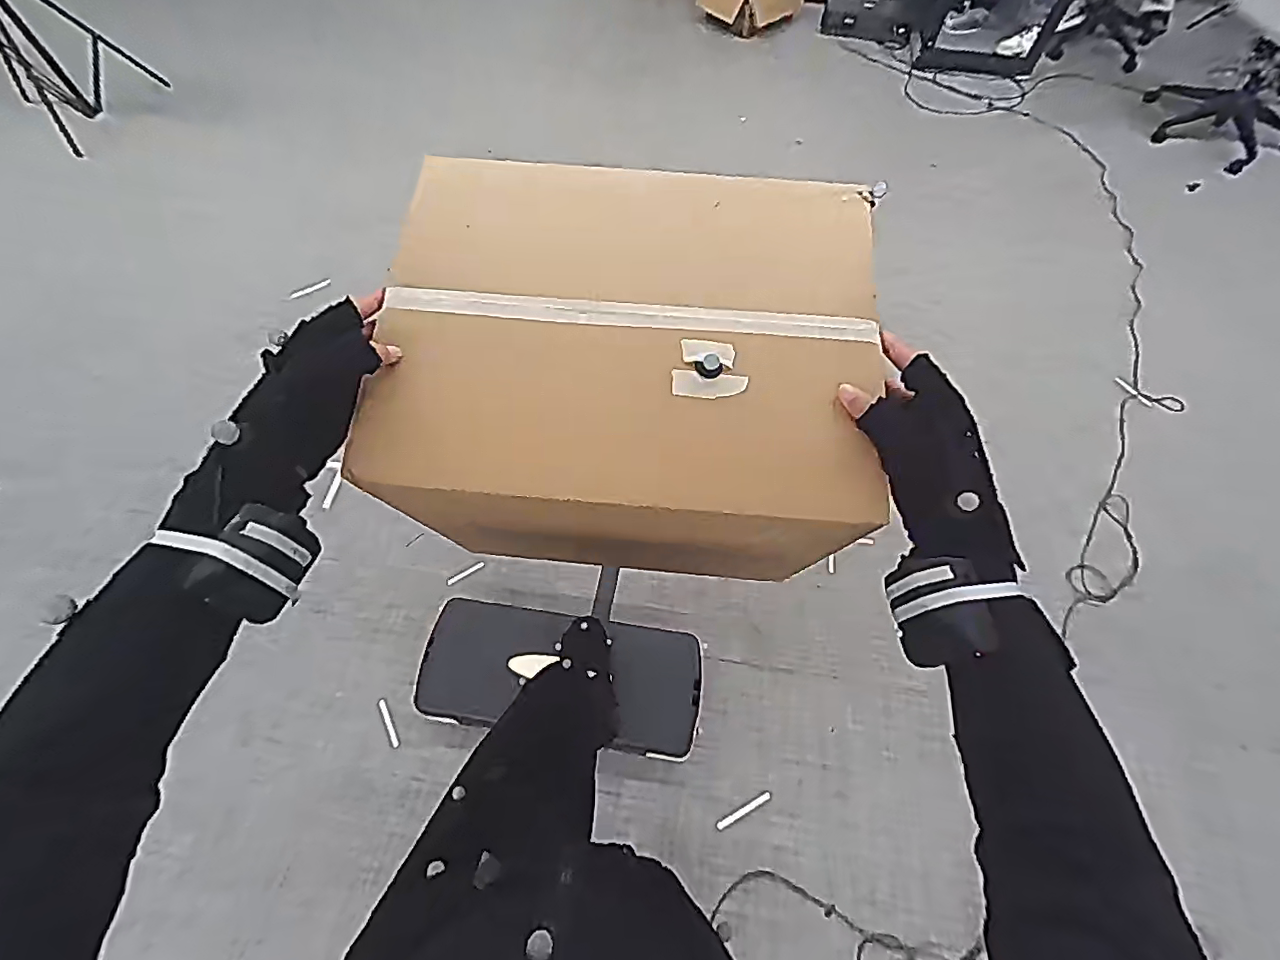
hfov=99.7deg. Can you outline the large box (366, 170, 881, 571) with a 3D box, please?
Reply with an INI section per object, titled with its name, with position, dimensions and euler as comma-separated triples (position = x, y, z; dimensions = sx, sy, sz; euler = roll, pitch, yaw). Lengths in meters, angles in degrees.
[large box]
position = -0.006, -0.087, 0.598
dimensions = 0.408, 0.320, 0.320
euler = 5, 73, 1
